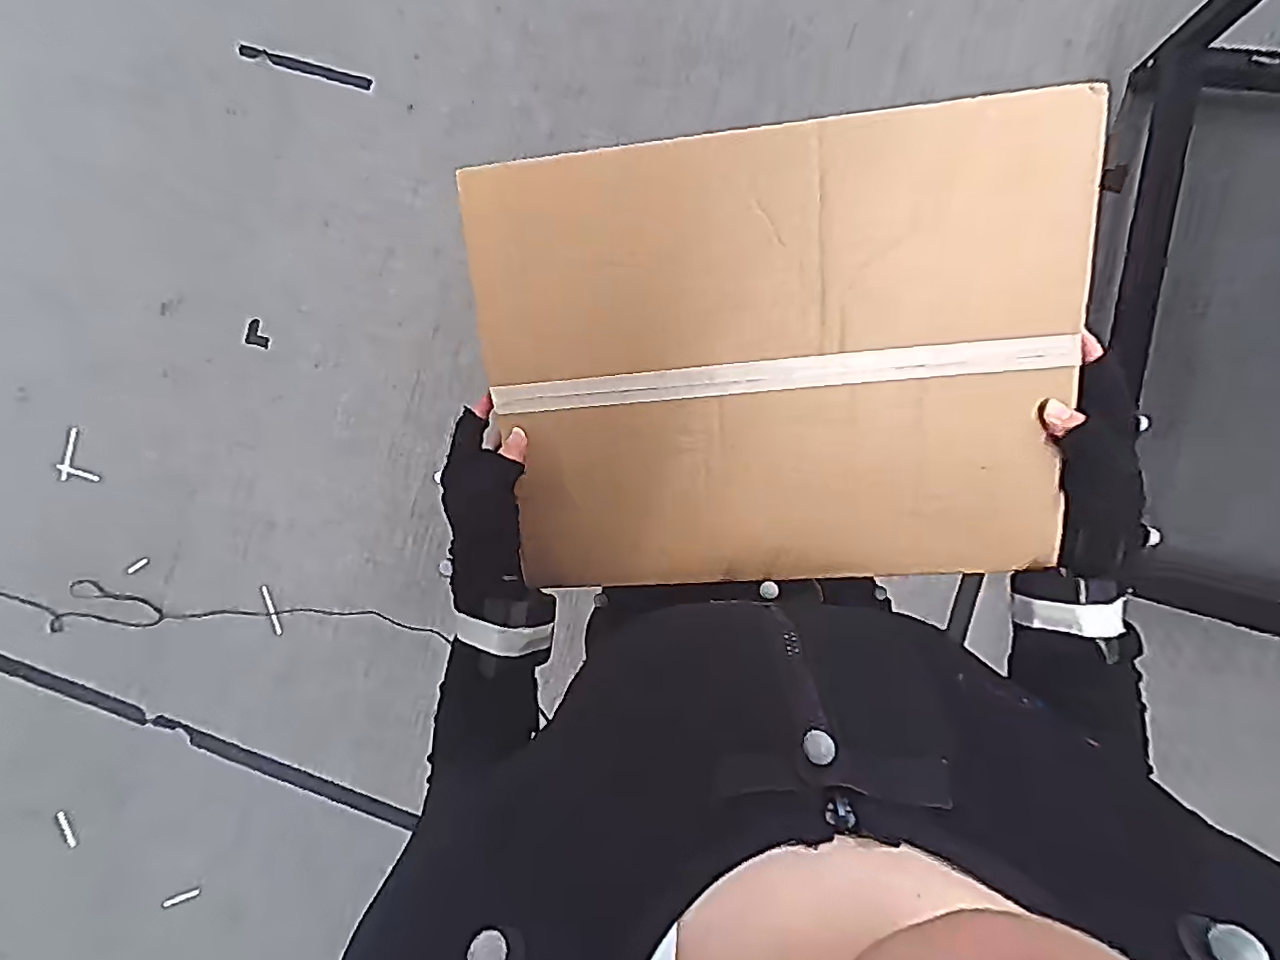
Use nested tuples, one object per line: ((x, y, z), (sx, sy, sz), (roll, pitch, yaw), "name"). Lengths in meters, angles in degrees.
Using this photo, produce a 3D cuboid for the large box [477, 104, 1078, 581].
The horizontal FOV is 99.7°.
((0.106, -0.113, 0.541), (0.408, 0.320, 0.320), (-3, 106, 7), "large box")
